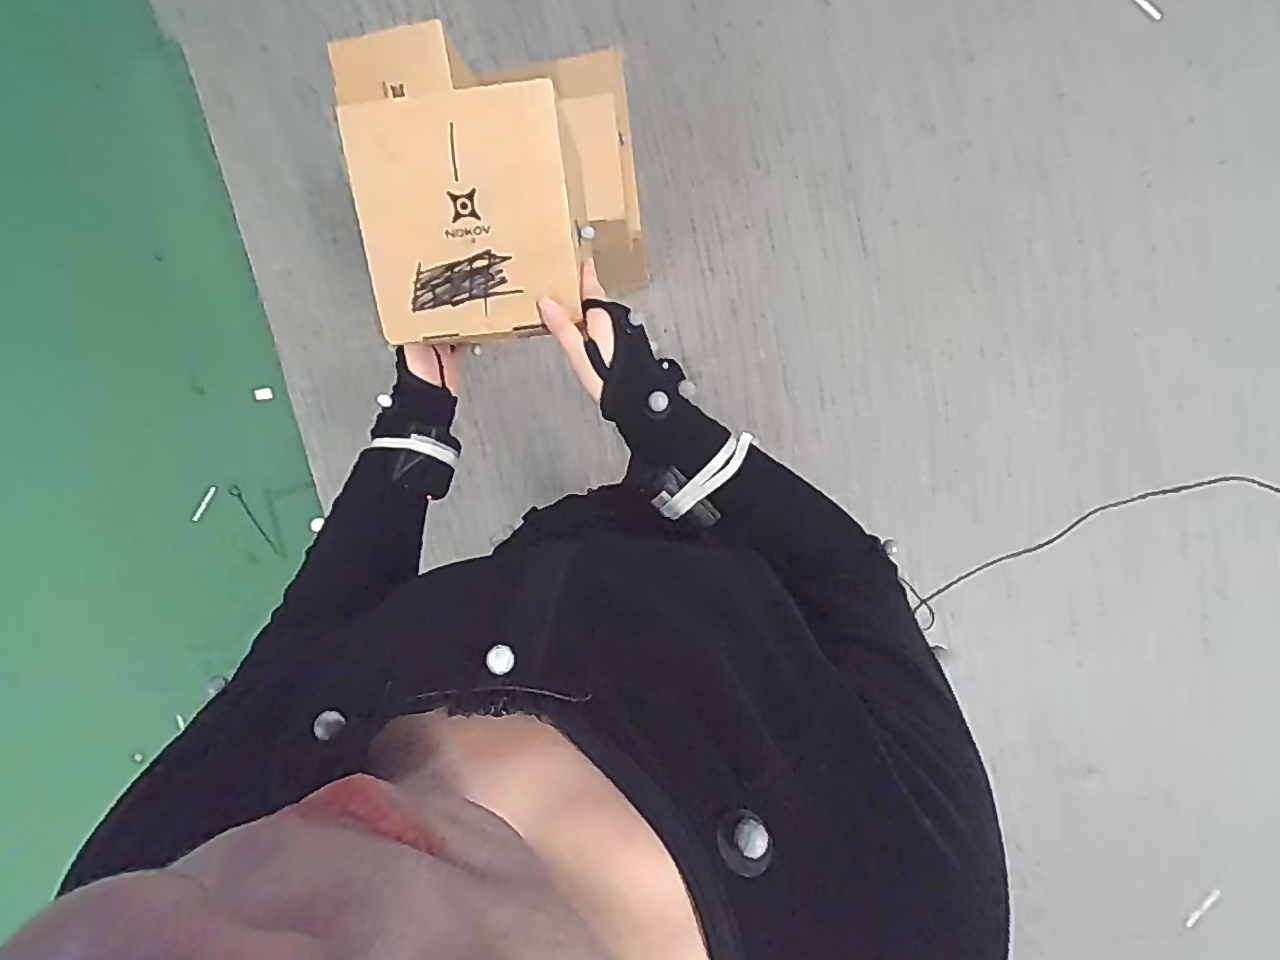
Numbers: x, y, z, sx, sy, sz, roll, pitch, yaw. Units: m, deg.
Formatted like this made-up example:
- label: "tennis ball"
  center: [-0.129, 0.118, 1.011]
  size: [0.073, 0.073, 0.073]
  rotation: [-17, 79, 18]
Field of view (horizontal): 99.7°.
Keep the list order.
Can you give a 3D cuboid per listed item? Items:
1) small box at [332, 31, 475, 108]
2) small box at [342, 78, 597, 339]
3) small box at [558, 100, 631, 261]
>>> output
- label: "small box"
  center: [-0.350, -0.567, 0.873]
  size: [0.179, 0.176, 0.168]
  rotation: [-8, 96, 5]
- label: "small box"
  center: [-0.135, -0.228, 0.503]
  size: [0.168, 0.176, 0.179]
  rotation: [-6, 103, 2]
- label: "small box"
  center: [-0.107, -0.466, 0.872]
  size: [0.168, 0.176, 0.179]
  rotation: [-5, 96, 4]
